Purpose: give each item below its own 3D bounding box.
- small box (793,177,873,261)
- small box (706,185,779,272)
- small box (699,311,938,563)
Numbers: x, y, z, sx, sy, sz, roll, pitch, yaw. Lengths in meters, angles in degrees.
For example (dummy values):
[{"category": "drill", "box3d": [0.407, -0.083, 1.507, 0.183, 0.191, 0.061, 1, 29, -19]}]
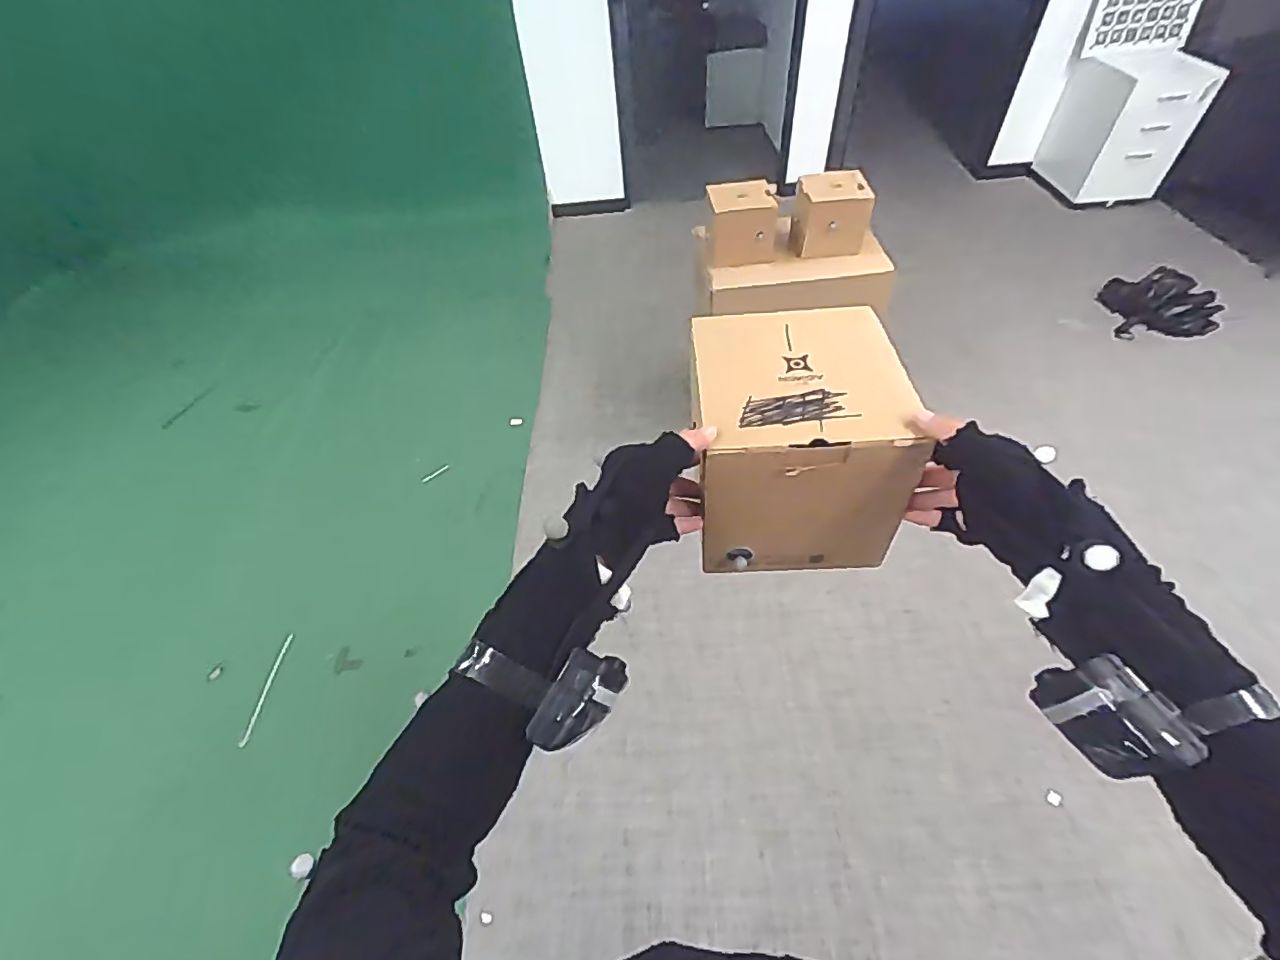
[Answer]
[{"category": "small box", "box3d": [0.556, -0.763, 1.591, 0.179, 0.176, 0.168, -4, 53, 2]}, {"category": "small box", "box3d": [0.295, -0.739, 1.595, 0.179, 0.176, 0.168, -7, 52, 1]}, {"category": "small box", "box3d": [0.142, -0.034, 0.505, 0.168, 0.176, 0.179, -2, 47, 4]}]
